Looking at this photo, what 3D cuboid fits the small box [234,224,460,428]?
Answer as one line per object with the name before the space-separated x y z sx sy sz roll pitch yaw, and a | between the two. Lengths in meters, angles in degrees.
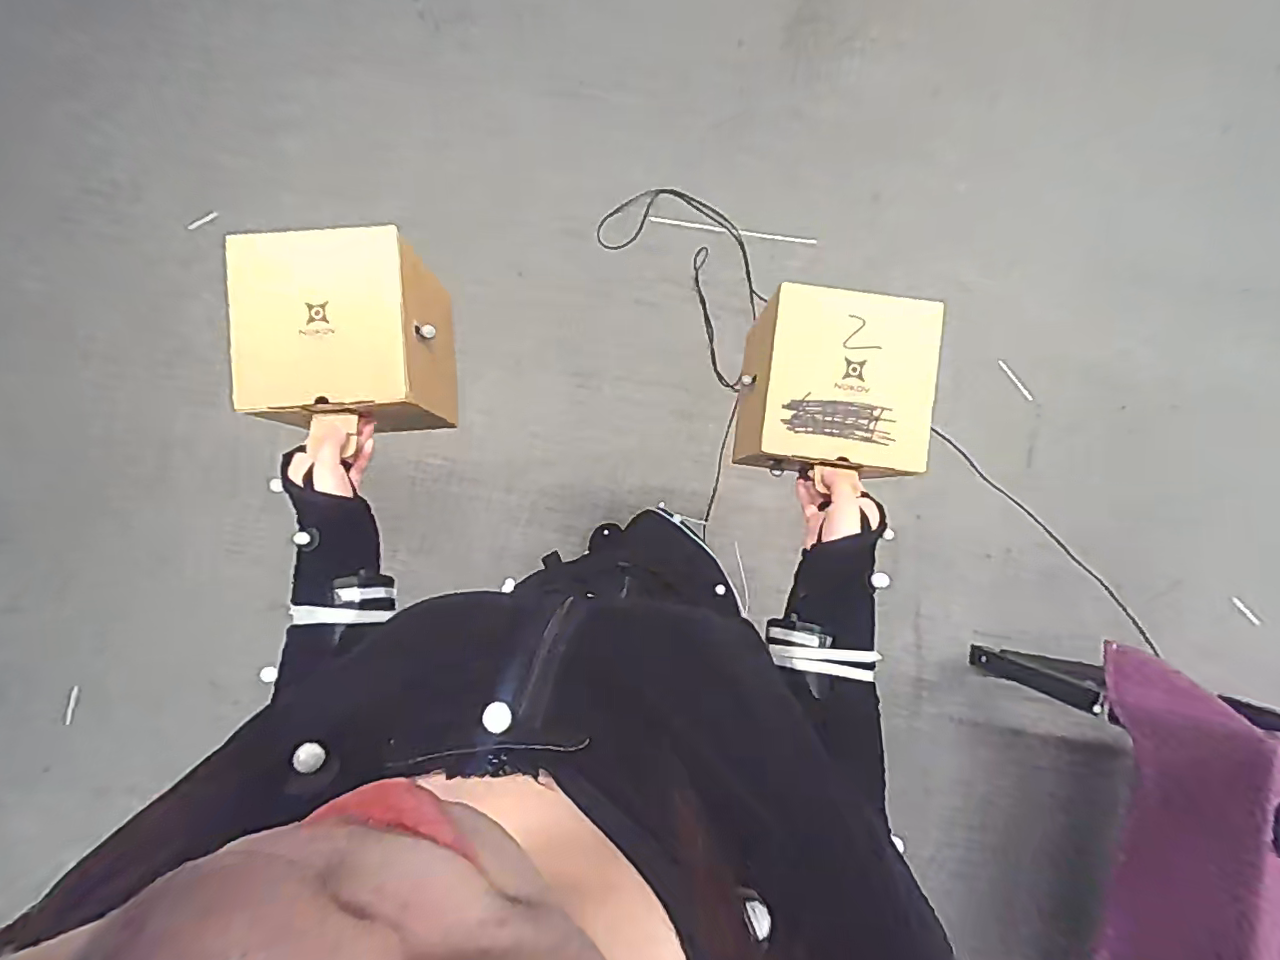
small box | -0.308 -0.157 0.600 0.168 0.176 0.179 -4 89 -2
